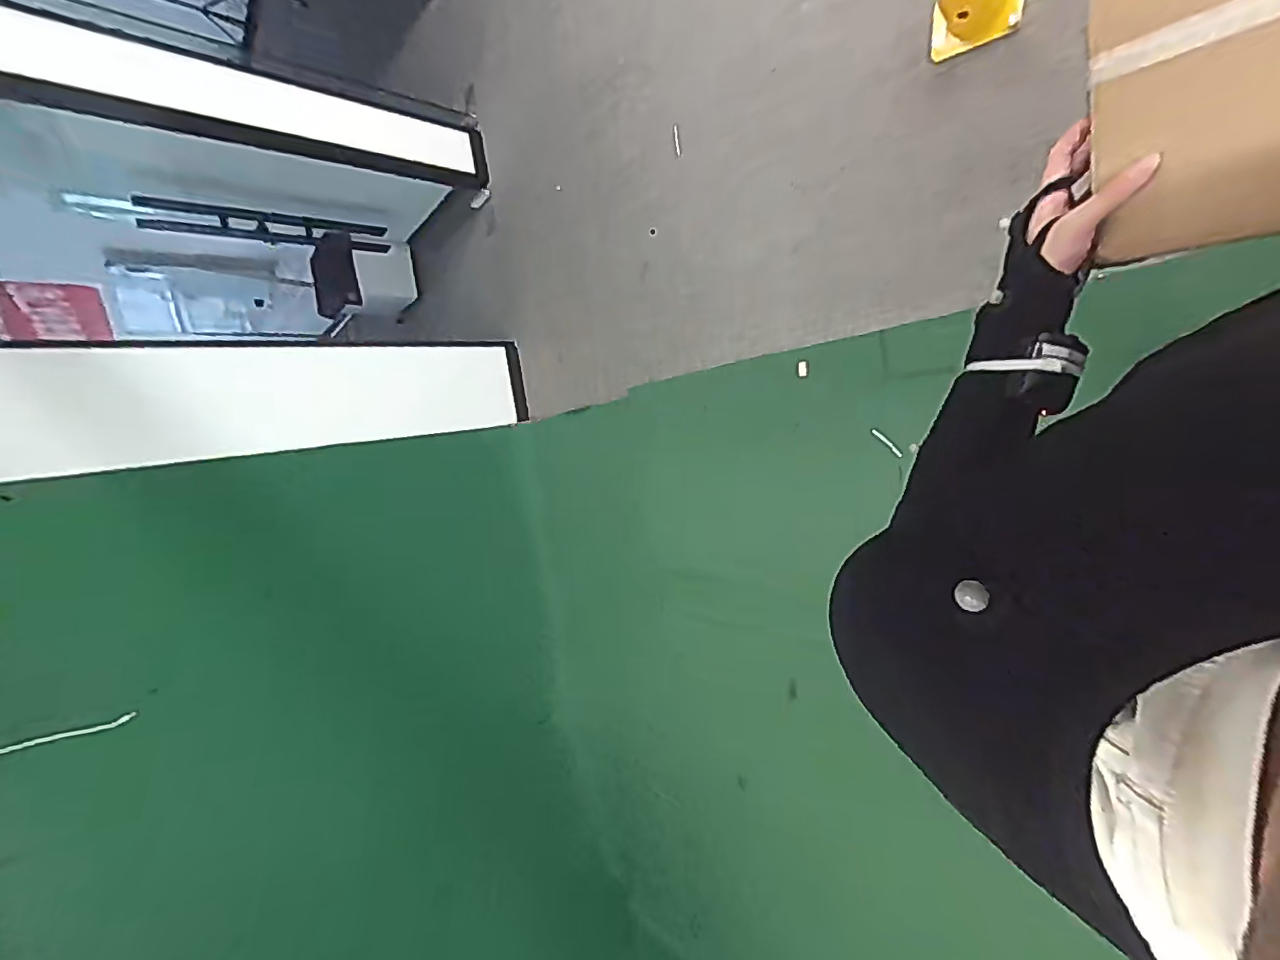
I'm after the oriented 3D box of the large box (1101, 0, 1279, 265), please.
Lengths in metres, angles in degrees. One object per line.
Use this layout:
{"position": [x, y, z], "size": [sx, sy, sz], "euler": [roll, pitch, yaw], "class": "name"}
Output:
{"position": [0.620, -0.384, 0.392], "size": [0.408, 0.320, 0.320], "euler": [4, 117, 48], "class": "large box"}
